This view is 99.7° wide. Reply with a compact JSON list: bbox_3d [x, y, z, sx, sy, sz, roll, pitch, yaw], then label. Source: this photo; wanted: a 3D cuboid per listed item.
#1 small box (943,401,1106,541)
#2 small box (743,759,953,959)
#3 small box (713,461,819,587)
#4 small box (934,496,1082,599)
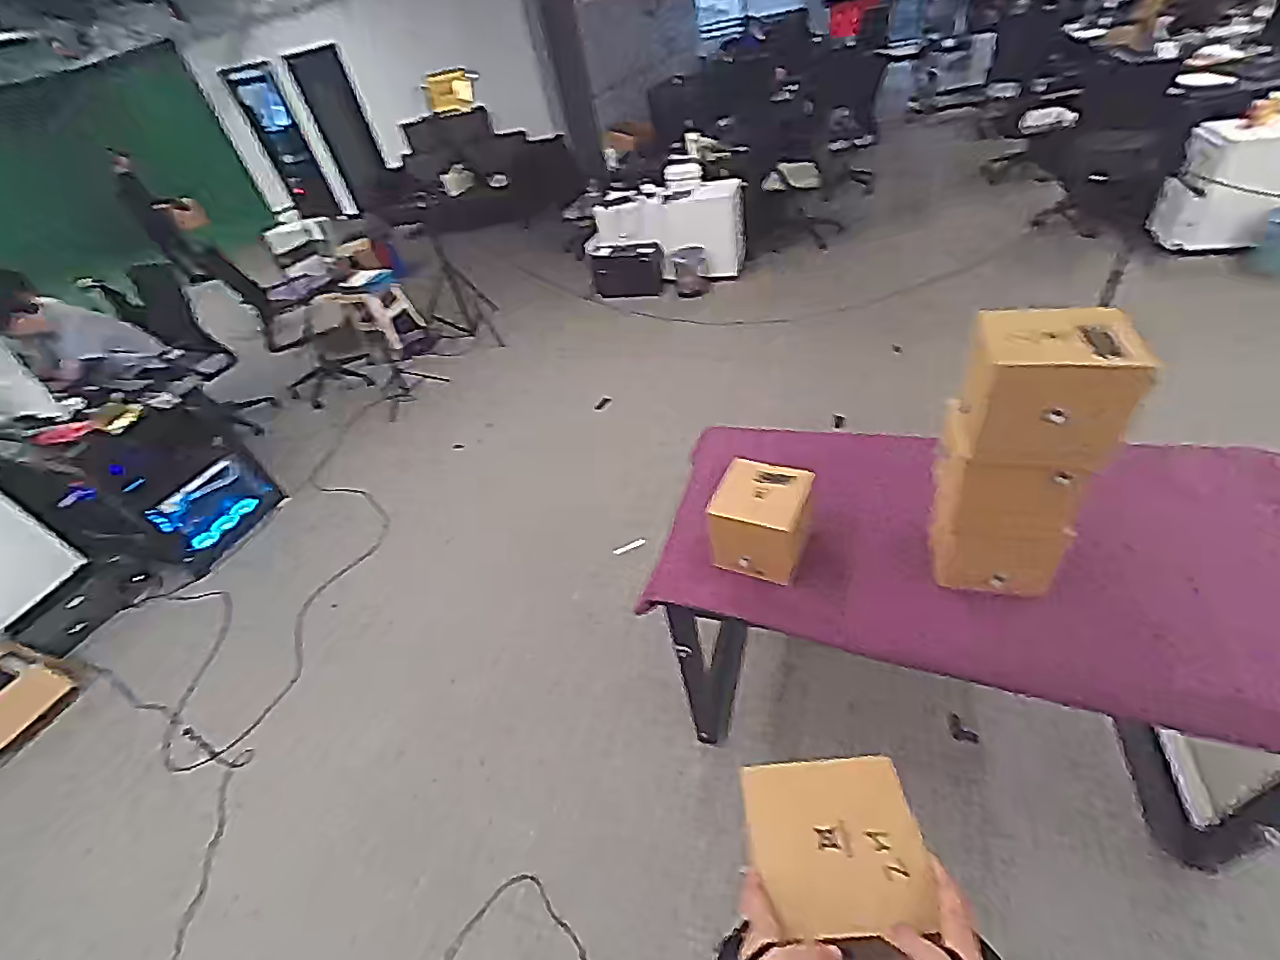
[{"bbox_3d":[0.615,-0.015,0.897,0.179,0.176,0.168,3,42,19],"label":"small box"},{"bbox_3d":[0.218,0.443,0.613,0.179,0.176,0.168,-6,36,5],"label":"small box"},{"bbox_3d":[0.264,0.090,1.124,0.168,0.176,0.179,12,47,27],"label":"small box"},{"bbox_3d":[0.665,0.101,1.001,0.179,0.176,0.168,4,42,18],"label":"small box"}]
